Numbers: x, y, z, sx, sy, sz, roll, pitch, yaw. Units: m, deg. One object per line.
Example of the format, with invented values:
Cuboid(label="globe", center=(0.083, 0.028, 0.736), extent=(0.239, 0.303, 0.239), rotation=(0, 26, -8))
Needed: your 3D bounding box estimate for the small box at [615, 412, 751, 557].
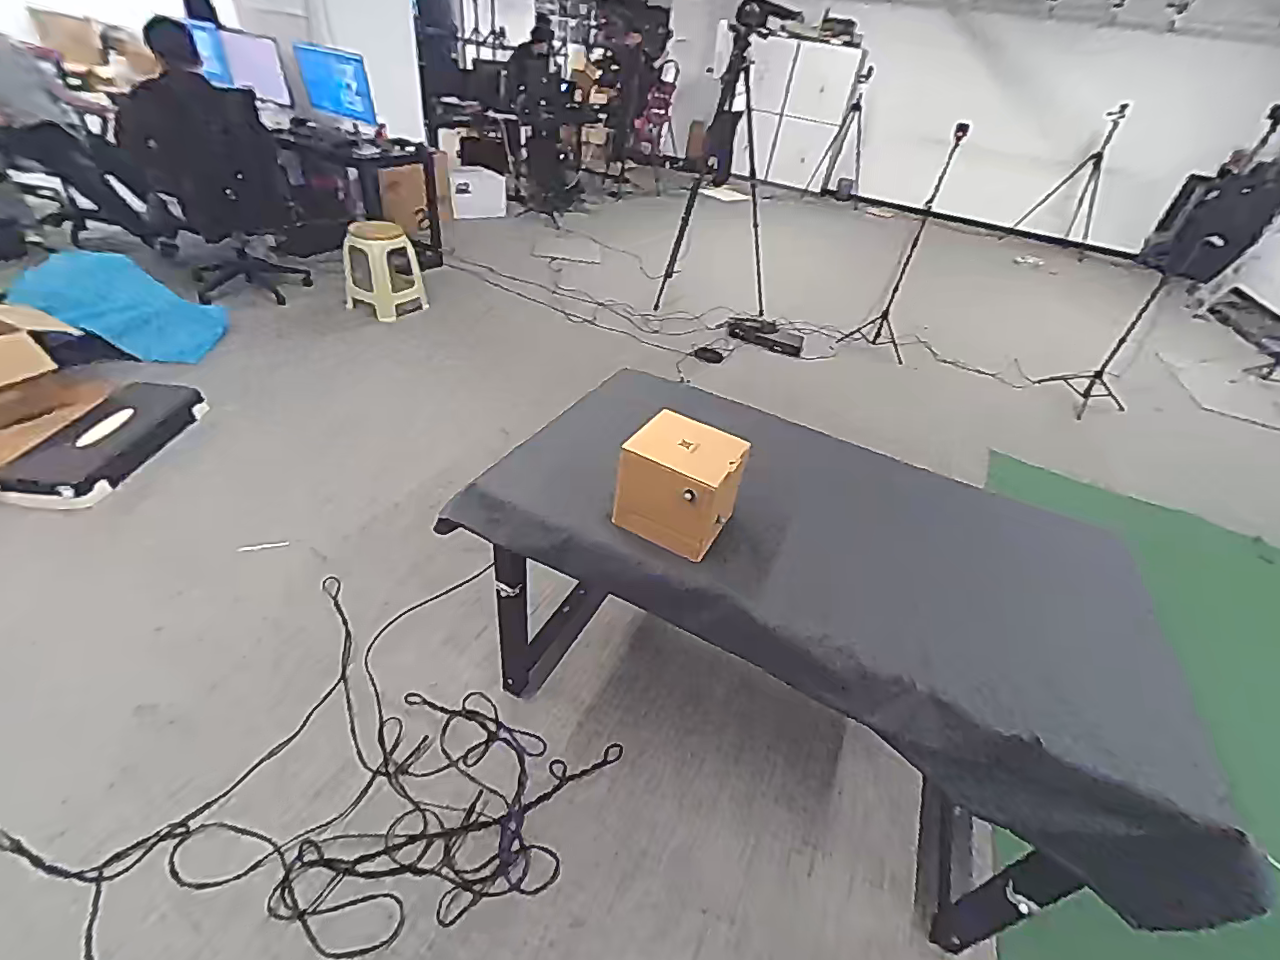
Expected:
Cuboid(label="small box", center=(0.071, 0.007, 0.960), extent=(0.179, 0.176, 0.168), rotation=(24, 39, 18))
